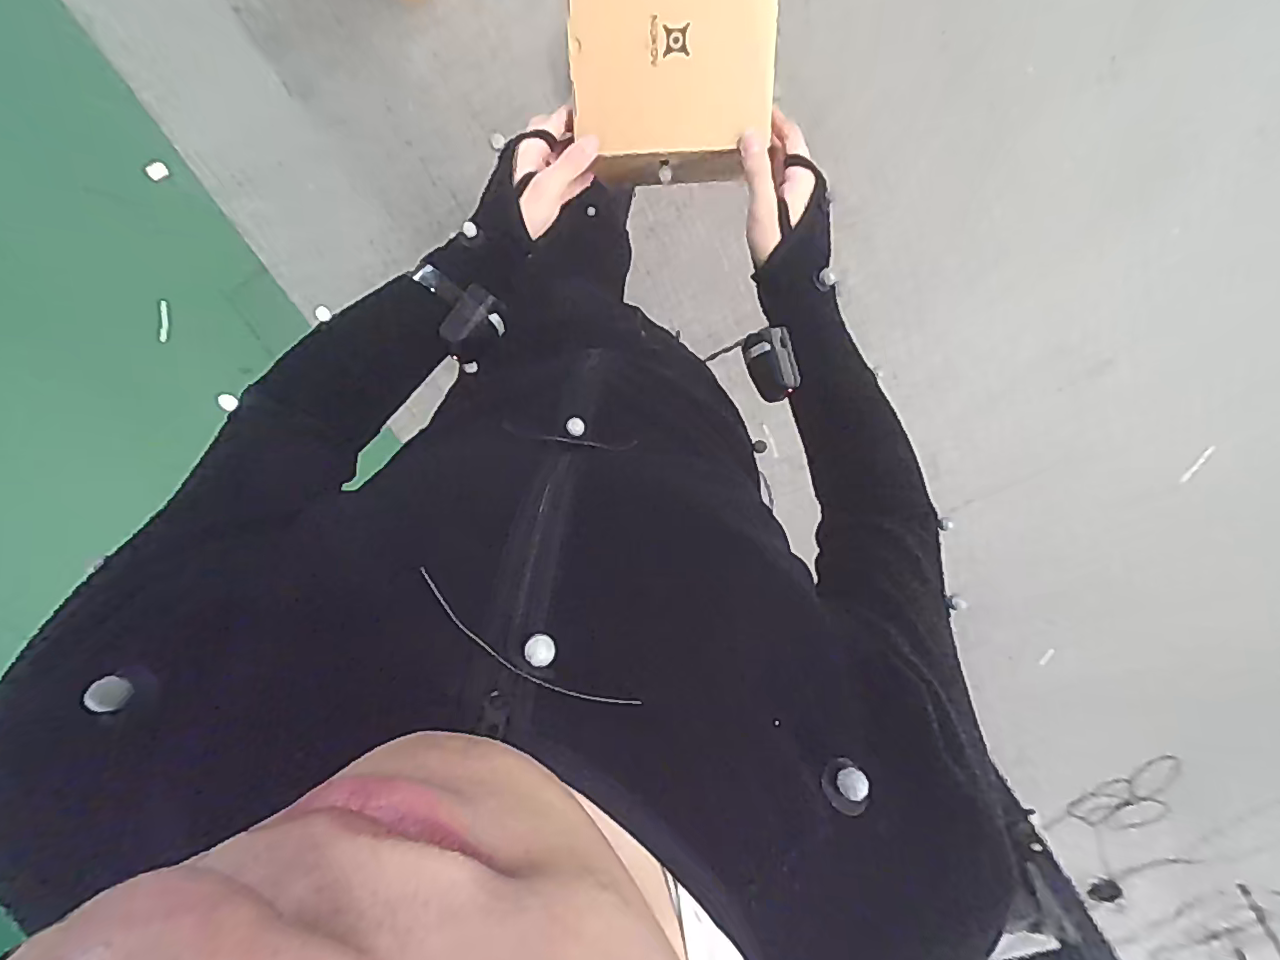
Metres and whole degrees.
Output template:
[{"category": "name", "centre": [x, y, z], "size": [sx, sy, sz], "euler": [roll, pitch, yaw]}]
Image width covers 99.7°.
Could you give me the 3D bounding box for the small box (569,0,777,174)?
[{"category": "small box", "centre": [0.035, -0.410, 0.530], "size": [0.179, 0.176, 0.168], "euler": [1, 110, 7]}]
